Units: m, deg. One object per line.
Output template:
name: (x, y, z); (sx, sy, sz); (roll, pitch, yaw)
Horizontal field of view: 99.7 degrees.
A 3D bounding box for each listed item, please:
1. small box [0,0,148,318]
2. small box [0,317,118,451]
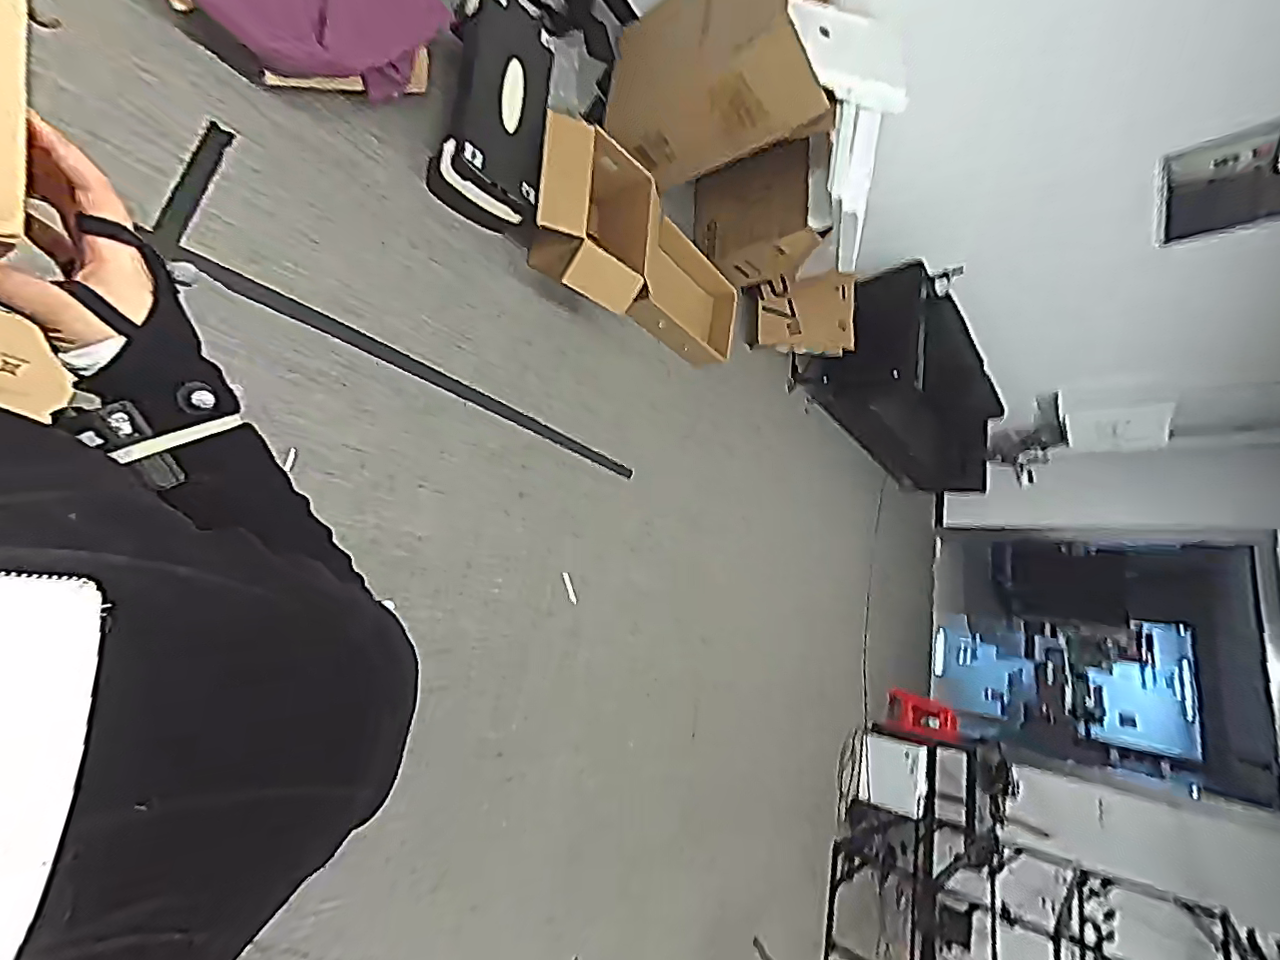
small box: (-0.322, -0.169, 0.205); (0.168, 0.176, 0.179); (-3, 100, -56)
small box: (-1.051, -0.159, 0.932); (0.168, 0.176, 0.179); (25, 71, -45)
